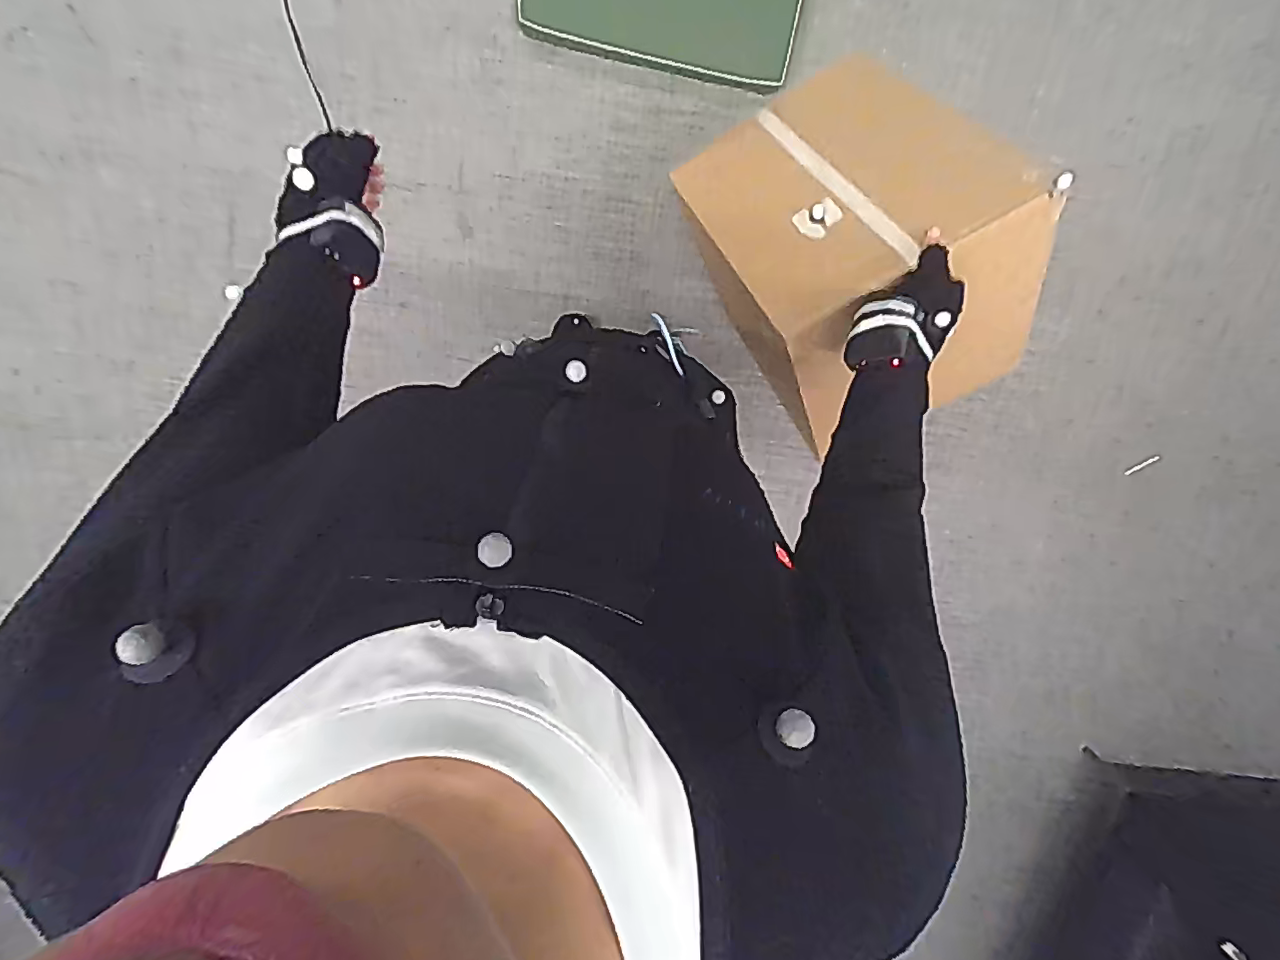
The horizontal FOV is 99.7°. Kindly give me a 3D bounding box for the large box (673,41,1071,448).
[{"bbox_3d":[0.300,-0.329,0.800,0.320,0.408,0.320,-30,147,12],"label":"large box"}]
